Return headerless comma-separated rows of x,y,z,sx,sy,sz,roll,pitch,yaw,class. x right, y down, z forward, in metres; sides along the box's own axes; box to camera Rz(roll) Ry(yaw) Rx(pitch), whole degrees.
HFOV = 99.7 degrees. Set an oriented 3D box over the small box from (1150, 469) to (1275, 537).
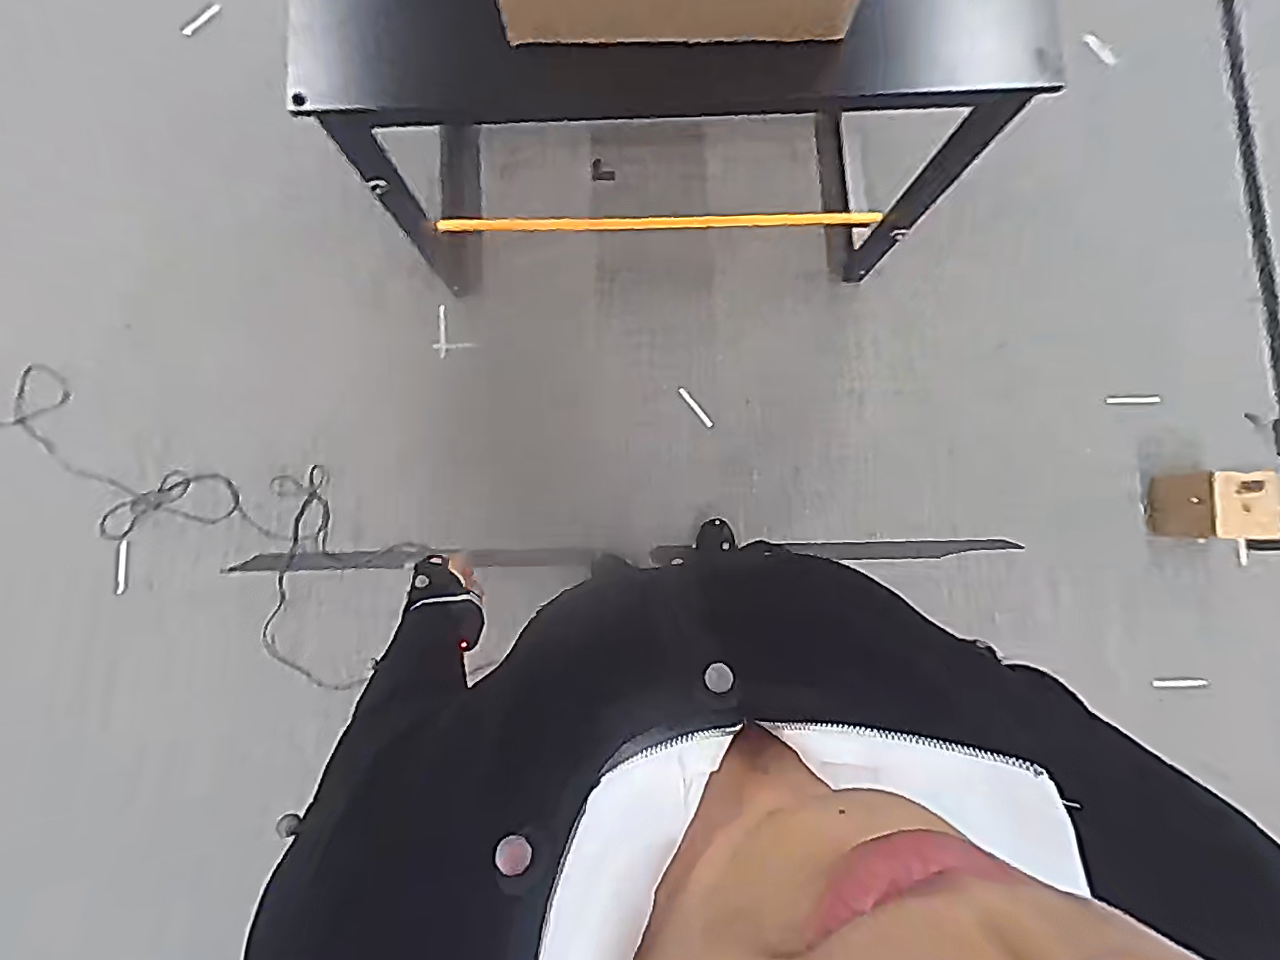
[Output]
1.538,0.065,1.464,0.168,0.176,0.179,0,86,-1,small box
